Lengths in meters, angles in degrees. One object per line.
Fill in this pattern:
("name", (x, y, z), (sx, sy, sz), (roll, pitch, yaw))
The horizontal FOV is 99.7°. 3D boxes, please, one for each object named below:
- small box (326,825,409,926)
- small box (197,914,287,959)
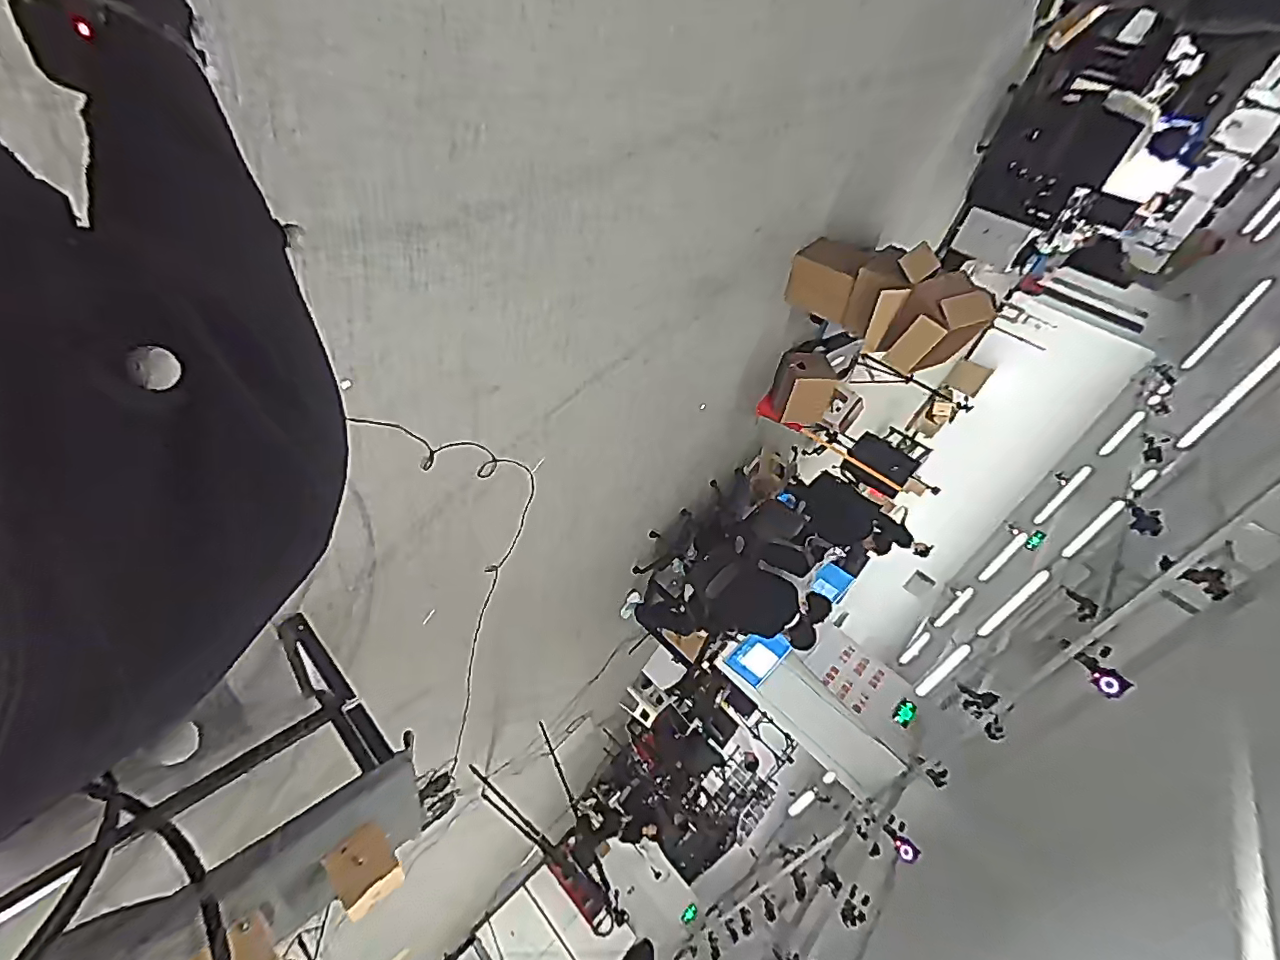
("small box", (-0.839, 1.212, 1.668), (0.168, 0.176, 0.179), (-29, 145, -39))
("small box", (-1.056, 1.311, 1.439), (0.168, 0.176, 0.179), (-26, 146, -42))
